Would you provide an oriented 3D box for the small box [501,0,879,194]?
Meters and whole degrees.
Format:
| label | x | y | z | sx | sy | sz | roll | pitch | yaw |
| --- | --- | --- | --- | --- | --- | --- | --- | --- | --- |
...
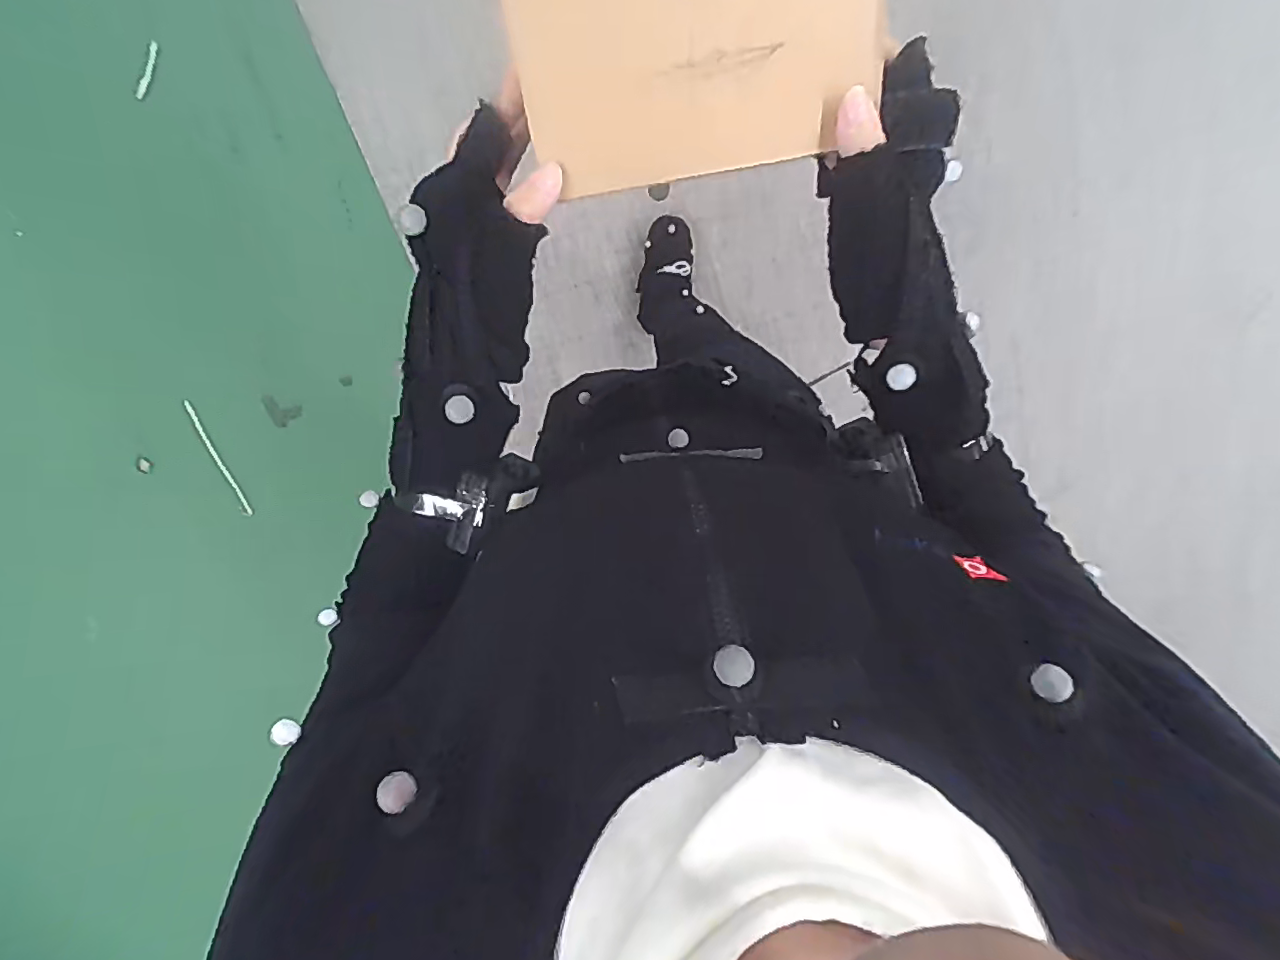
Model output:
| label | x | y | z | sx | sy | sz | roll | pitch | yaw |
| --- | --- | --- | --- | --- | --- | --- | --- | --- | --- |
| small box | 0.012 | -0.267 | 0.288 | 0.168 | 0.176 | 0.179 | -10 | 122 | 1 |
